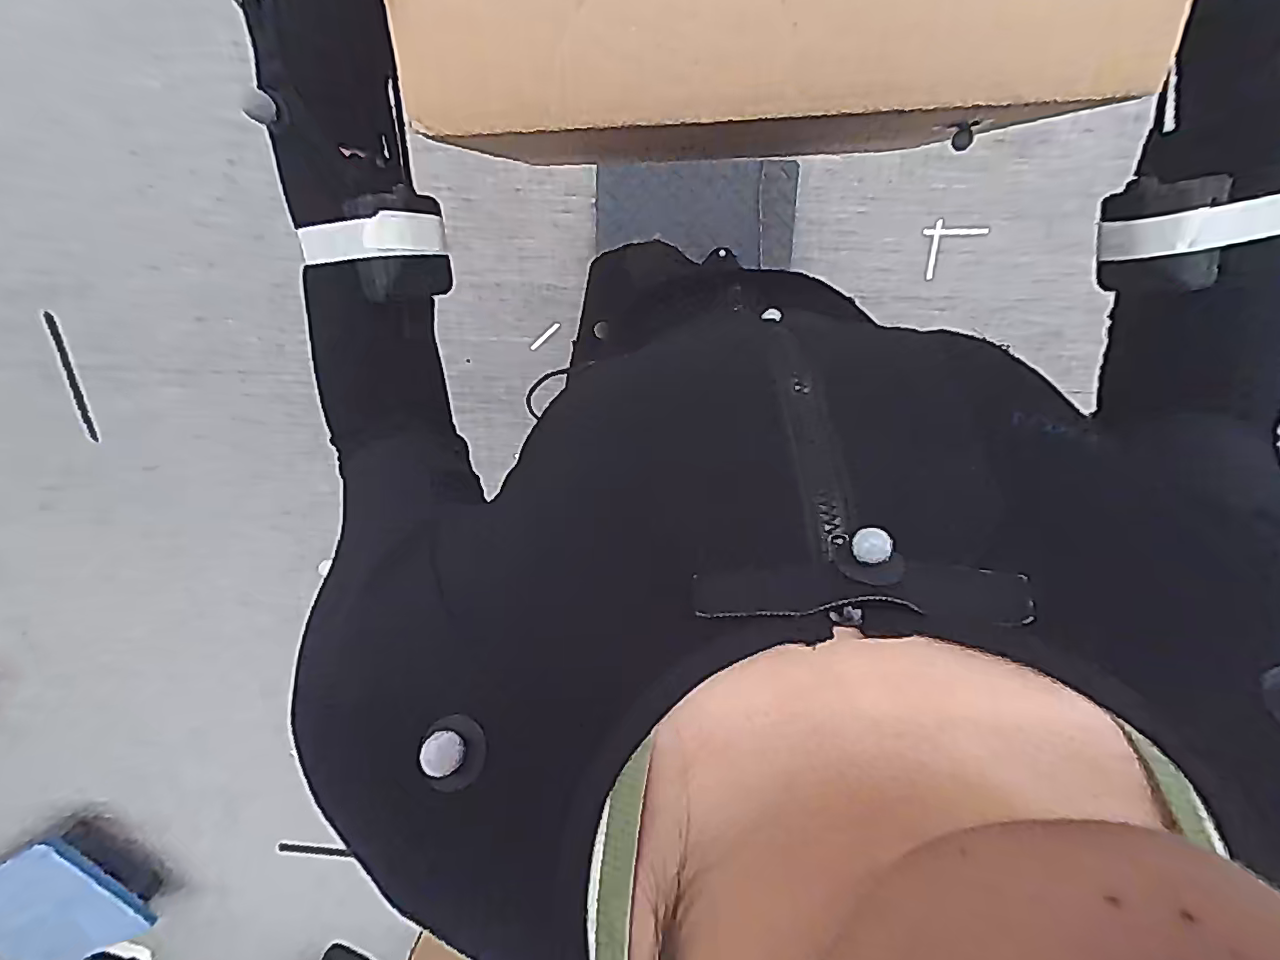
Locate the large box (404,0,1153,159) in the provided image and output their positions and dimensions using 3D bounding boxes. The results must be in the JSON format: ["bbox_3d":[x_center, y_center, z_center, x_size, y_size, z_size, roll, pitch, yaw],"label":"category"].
[{"bbox_3d":[0.071,-0.416,0.370,0.408,0.320,0.320,-1,117,3],"label":"large box"}]

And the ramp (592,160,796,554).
[{"bbox_3d":[0.120,-0.294,1.419,0.509,0.206,0.991,2,111,5],"label":"ramp"}]
